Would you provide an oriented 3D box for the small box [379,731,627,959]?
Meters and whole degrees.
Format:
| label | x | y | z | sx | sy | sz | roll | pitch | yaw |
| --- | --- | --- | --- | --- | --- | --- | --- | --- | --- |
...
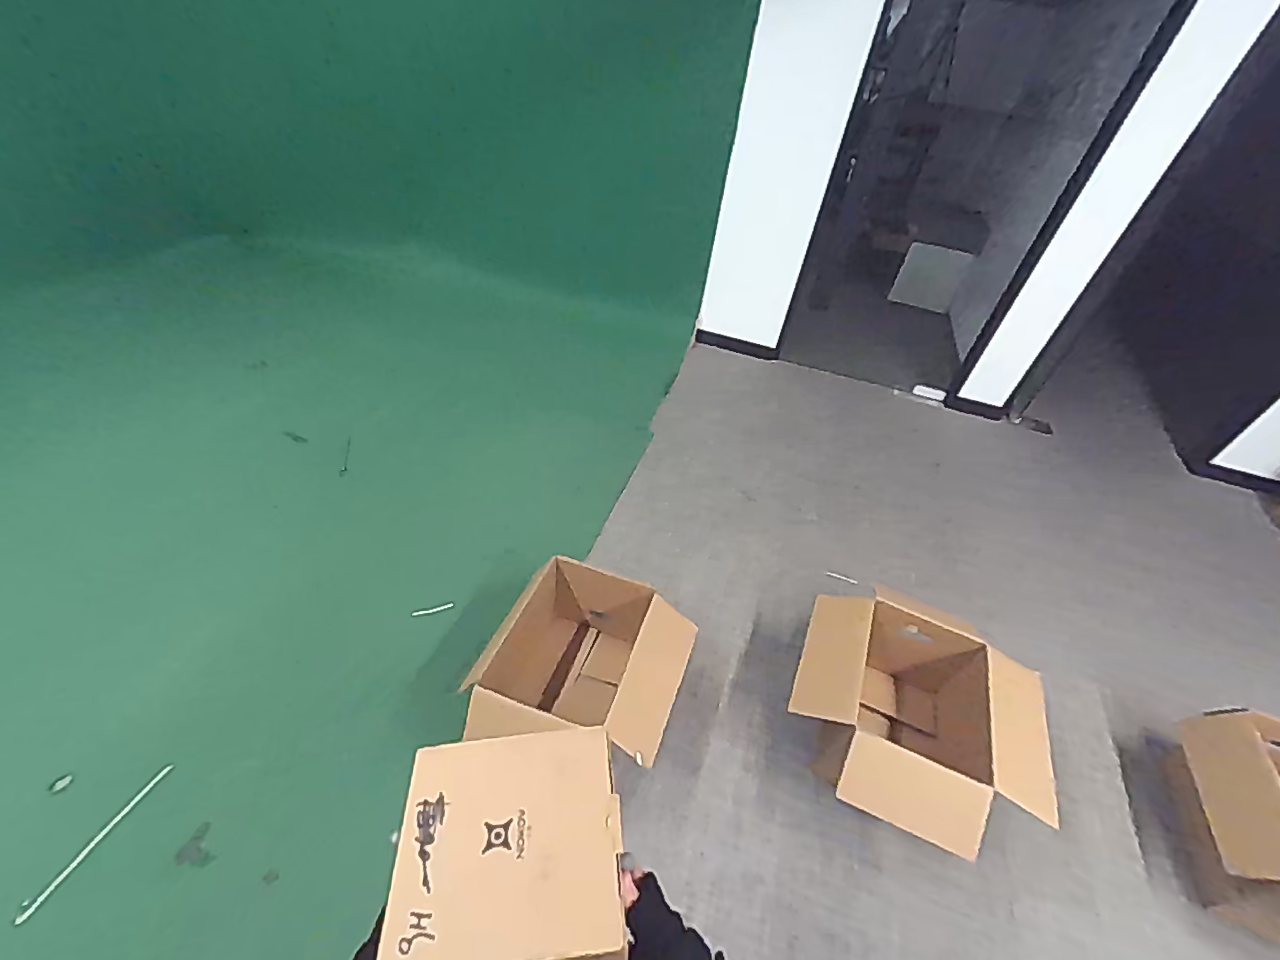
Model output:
| label | x | y | z | sx | sy | sz | roll | pitch | yaw |
| --- | --- | --- | --- | --- | --- | --- | --- | --- | --- |
| small box | -0.108 | 0.354 | 0.490 | 0.179 | 0.176 | 0.168 | -2 | 37 | -6 |
